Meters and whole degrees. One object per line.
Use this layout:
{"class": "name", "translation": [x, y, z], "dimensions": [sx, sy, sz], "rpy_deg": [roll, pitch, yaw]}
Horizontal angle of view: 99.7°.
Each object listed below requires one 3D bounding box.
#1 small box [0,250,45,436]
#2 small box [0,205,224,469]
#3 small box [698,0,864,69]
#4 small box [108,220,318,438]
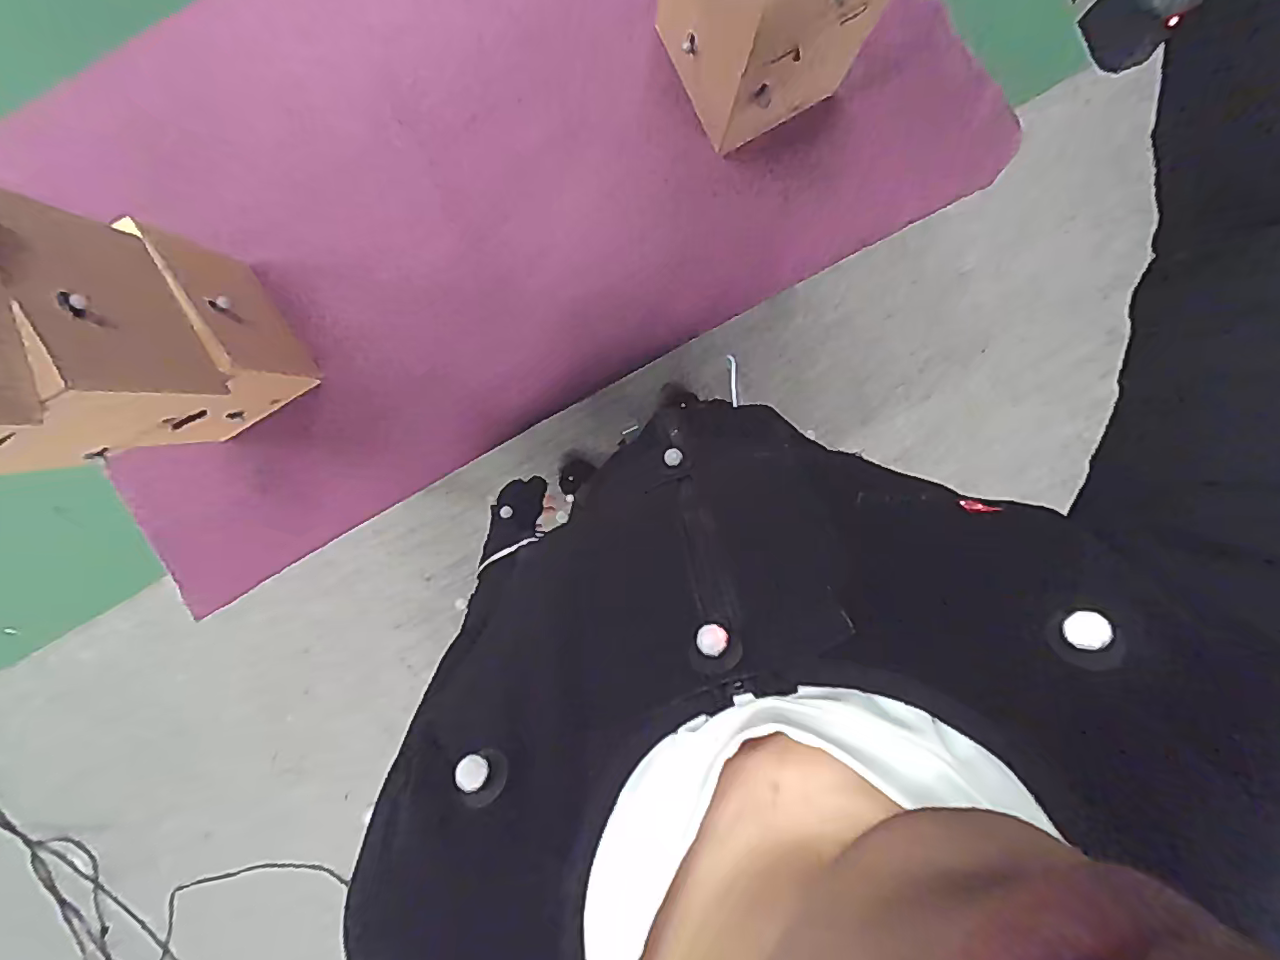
{"class": "small box", "translation": [-0.525, -0.097, 0.313], "dimensions": [0.168, 0.176, 0.179], "rpy_deg": [-9, 100, -1]}
{"class": "small box", "translation": [-0.529, -0.118, 0.476], "dimensions": [0.168, 0.176, 0.179], "rpy_deg": [-26, 98, 2]}
{"class": "small box", "translation": [0.119, -0.492, 0.429], "dimensions": [0.168, 0.176, 0.179], "rpy_deg": [-31, 96, 4]}
{"class": "small box", "translation": [-0.533, -0.160, 0.635], "dimensions": [0.168, 0.176, 0.179], "rpy_deg": [-30, 99, 3]}
